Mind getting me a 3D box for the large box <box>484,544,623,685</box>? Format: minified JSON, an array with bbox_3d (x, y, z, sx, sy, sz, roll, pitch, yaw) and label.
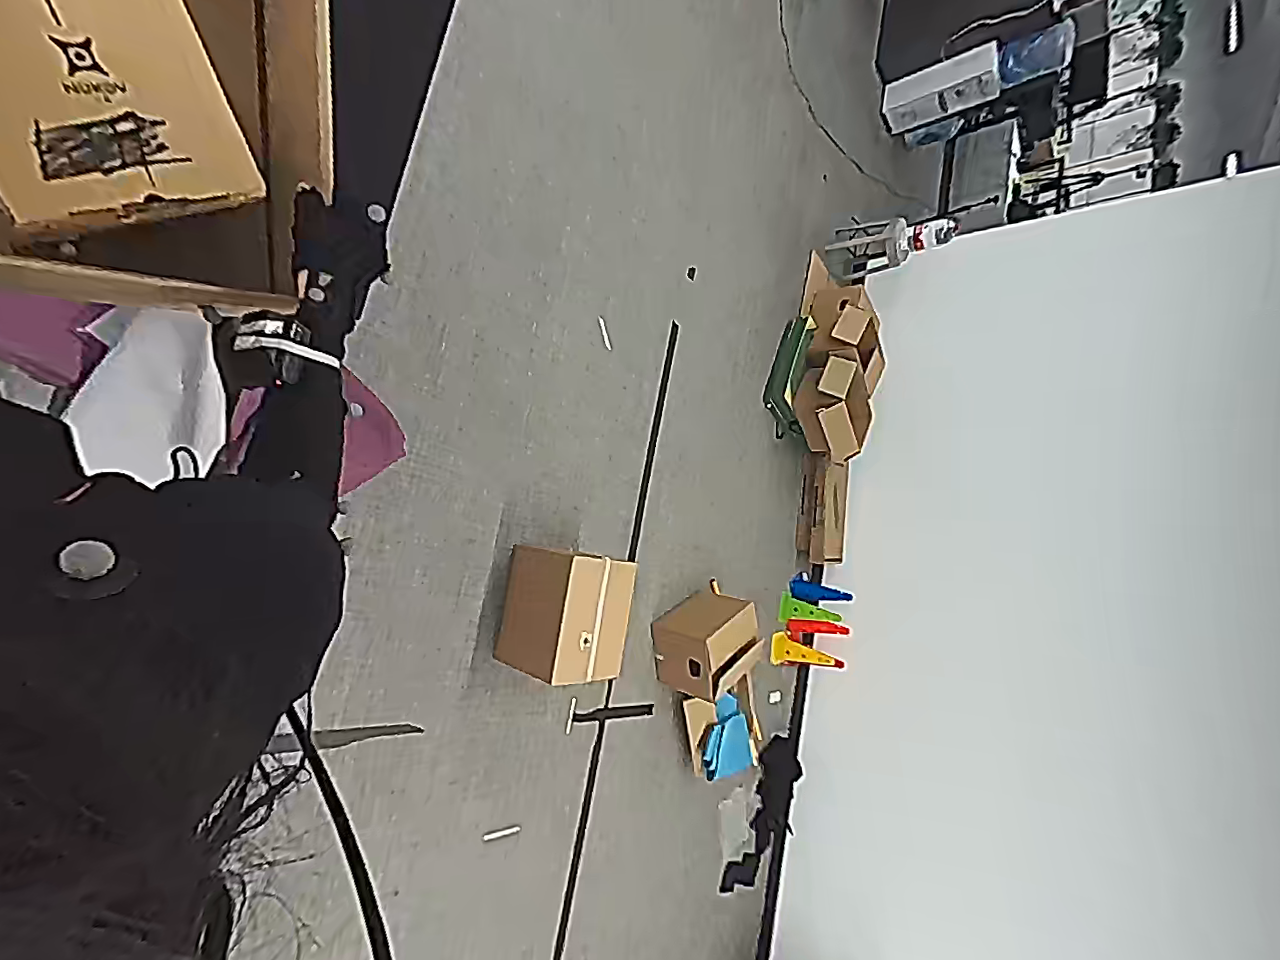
[{"bbox_3d":[-0.298,0.449,1.871,0.320,0.320,0.408,17,81,-49],"label":"large box"}]
